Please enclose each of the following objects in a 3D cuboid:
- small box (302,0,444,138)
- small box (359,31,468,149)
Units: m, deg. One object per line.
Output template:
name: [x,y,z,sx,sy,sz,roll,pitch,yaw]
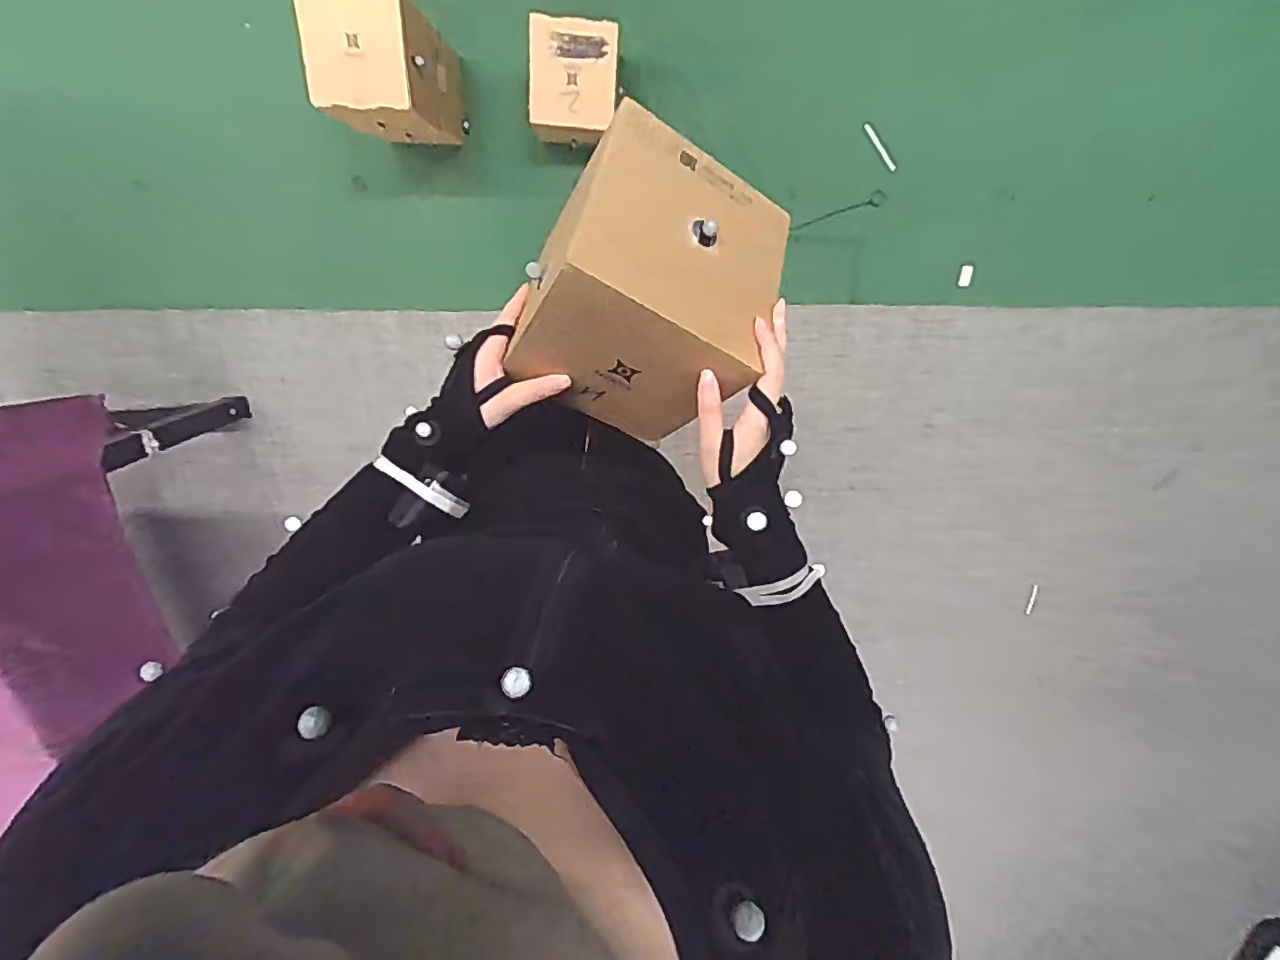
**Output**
small box: [-0.456,-0.726,0.951,0.168,0.176,0.179,2,112,-2]
small box: [-0.460,-0.788,1.101,0.179,0.176,0.168,2,111,-1]
